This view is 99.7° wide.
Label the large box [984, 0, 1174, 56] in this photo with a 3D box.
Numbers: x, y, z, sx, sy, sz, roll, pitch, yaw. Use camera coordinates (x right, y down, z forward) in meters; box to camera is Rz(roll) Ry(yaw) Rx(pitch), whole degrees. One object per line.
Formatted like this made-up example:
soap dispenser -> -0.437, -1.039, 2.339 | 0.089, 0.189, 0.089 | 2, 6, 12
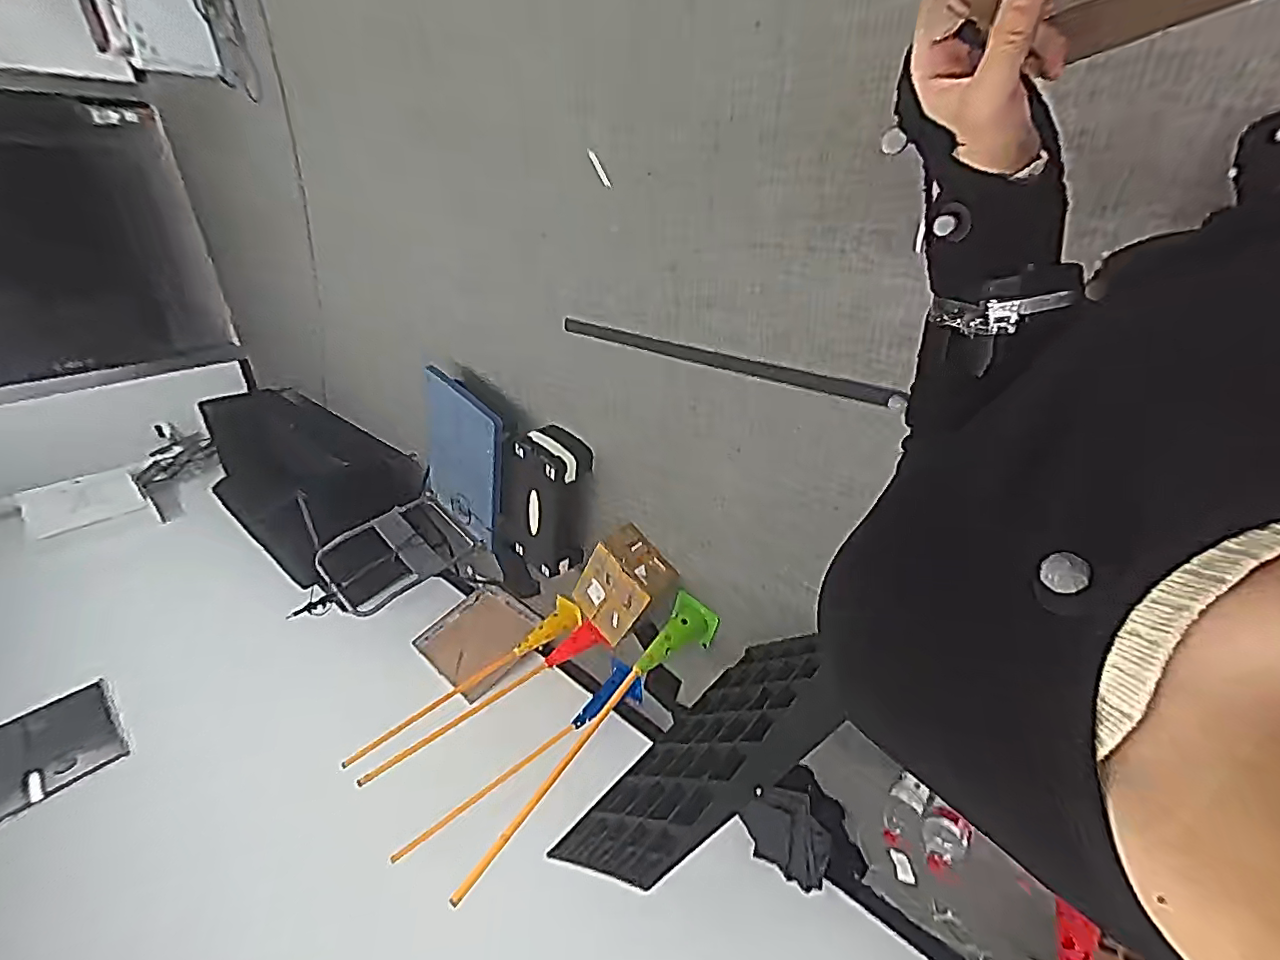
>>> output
large box -> 0.293, -0.380, 0.106 | 0.408, 0.320, 0.320 | 5, 114, 42
